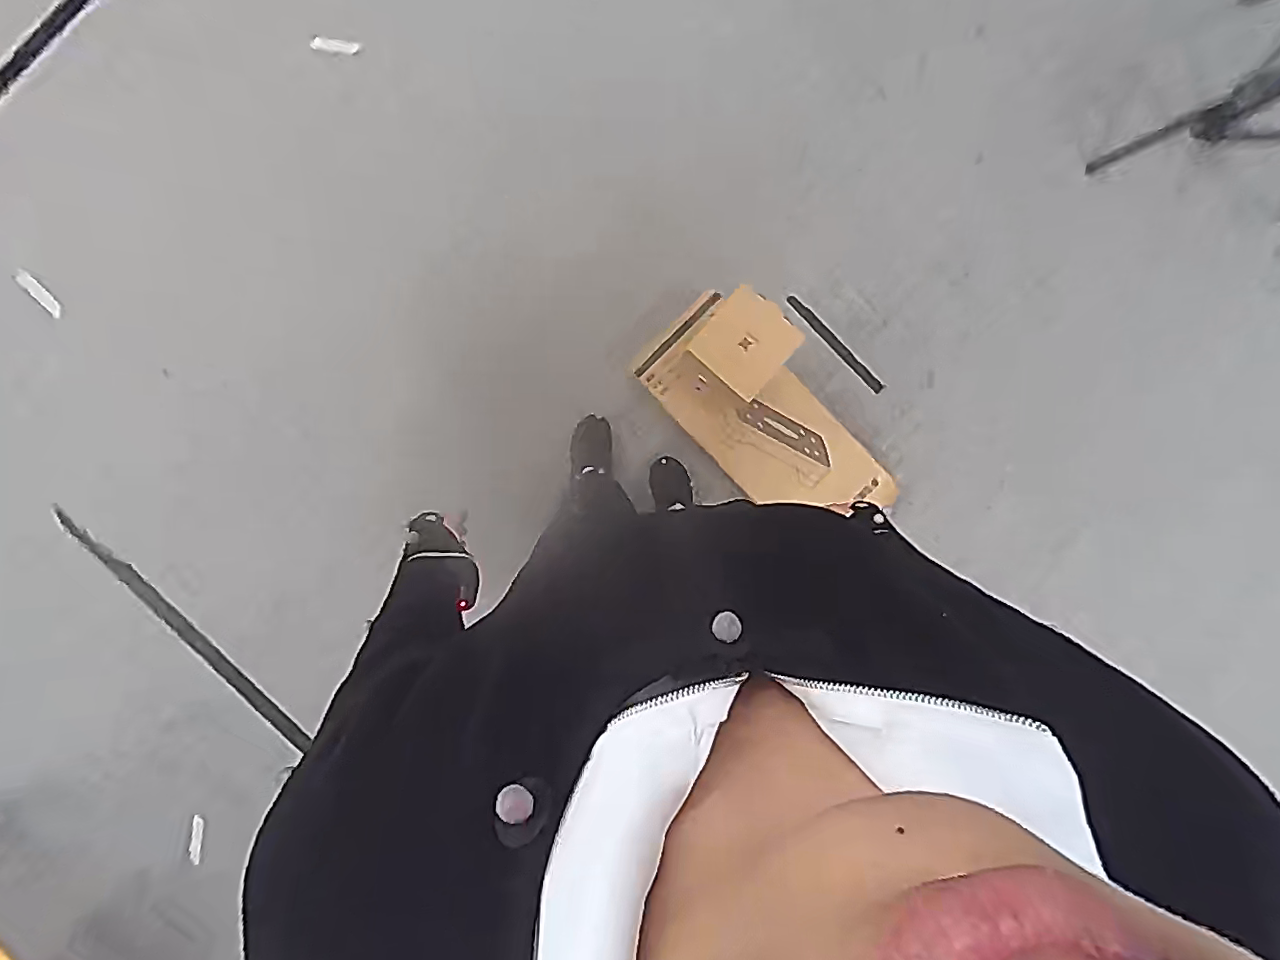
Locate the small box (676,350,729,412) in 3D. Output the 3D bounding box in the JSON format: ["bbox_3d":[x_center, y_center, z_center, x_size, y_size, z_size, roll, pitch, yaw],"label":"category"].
[{"bbox_3d":[0.201,-0.278,1.295,0.179,0.176,0.168,-43,95,2],"label":"small box"}]

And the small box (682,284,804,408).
[{"bbox_3d":[0.204,-0.270,1.132,0.168,0.176,0.179,40,92,-4],"label":"small box"}]
